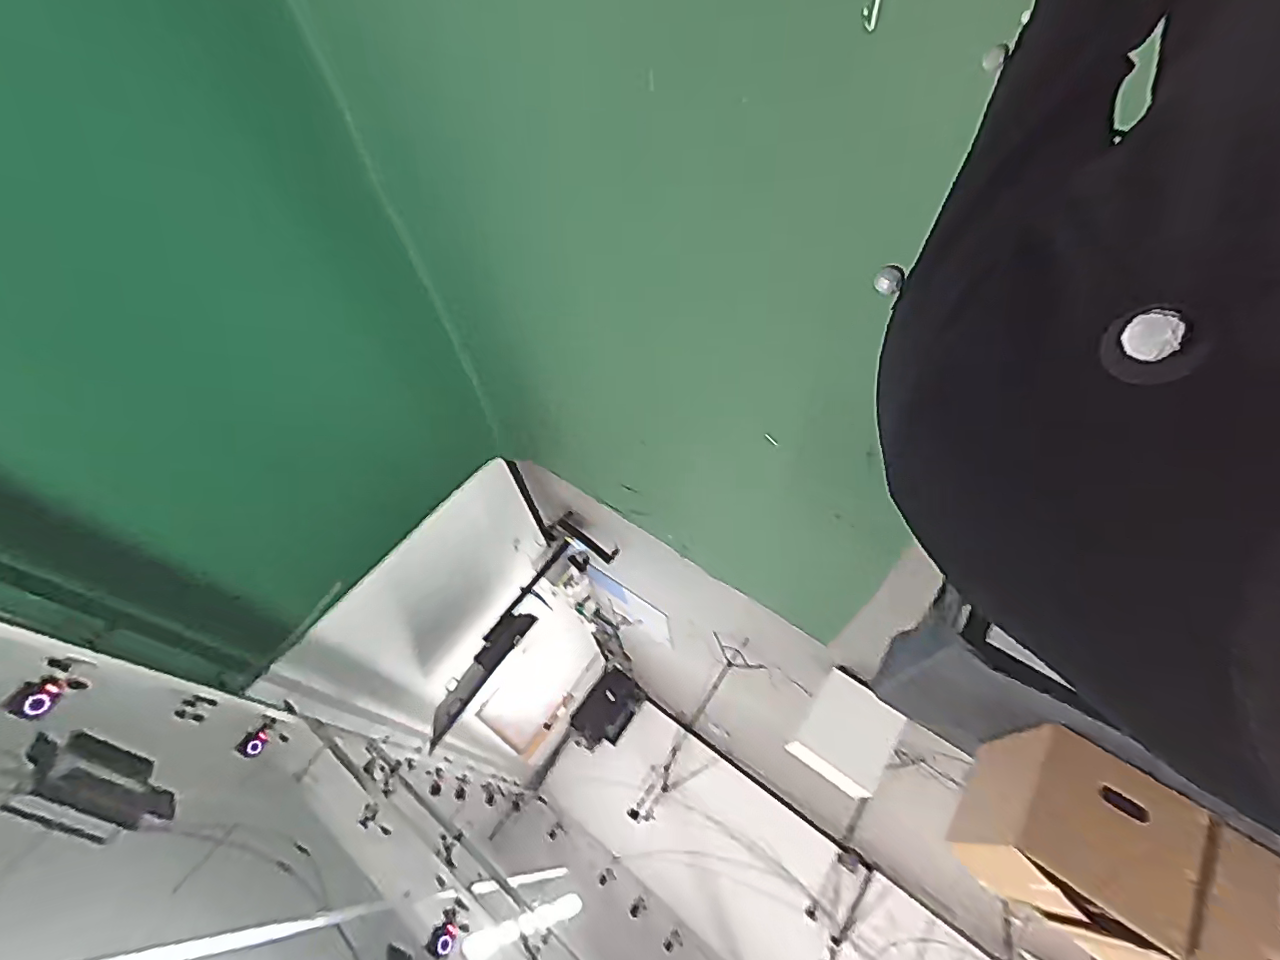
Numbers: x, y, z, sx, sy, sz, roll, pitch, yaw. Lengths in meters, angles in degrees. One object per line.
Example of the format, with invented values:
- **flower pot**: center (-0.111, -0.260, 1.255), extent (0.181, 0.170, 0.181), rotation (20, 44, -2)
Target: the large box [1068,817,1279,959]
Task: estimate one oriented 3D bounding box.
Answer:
- **large box**: center (1.265, 1.006, 1.199), extent (0.320, 0.320, 0.408), rotation (30, 153, 23)
